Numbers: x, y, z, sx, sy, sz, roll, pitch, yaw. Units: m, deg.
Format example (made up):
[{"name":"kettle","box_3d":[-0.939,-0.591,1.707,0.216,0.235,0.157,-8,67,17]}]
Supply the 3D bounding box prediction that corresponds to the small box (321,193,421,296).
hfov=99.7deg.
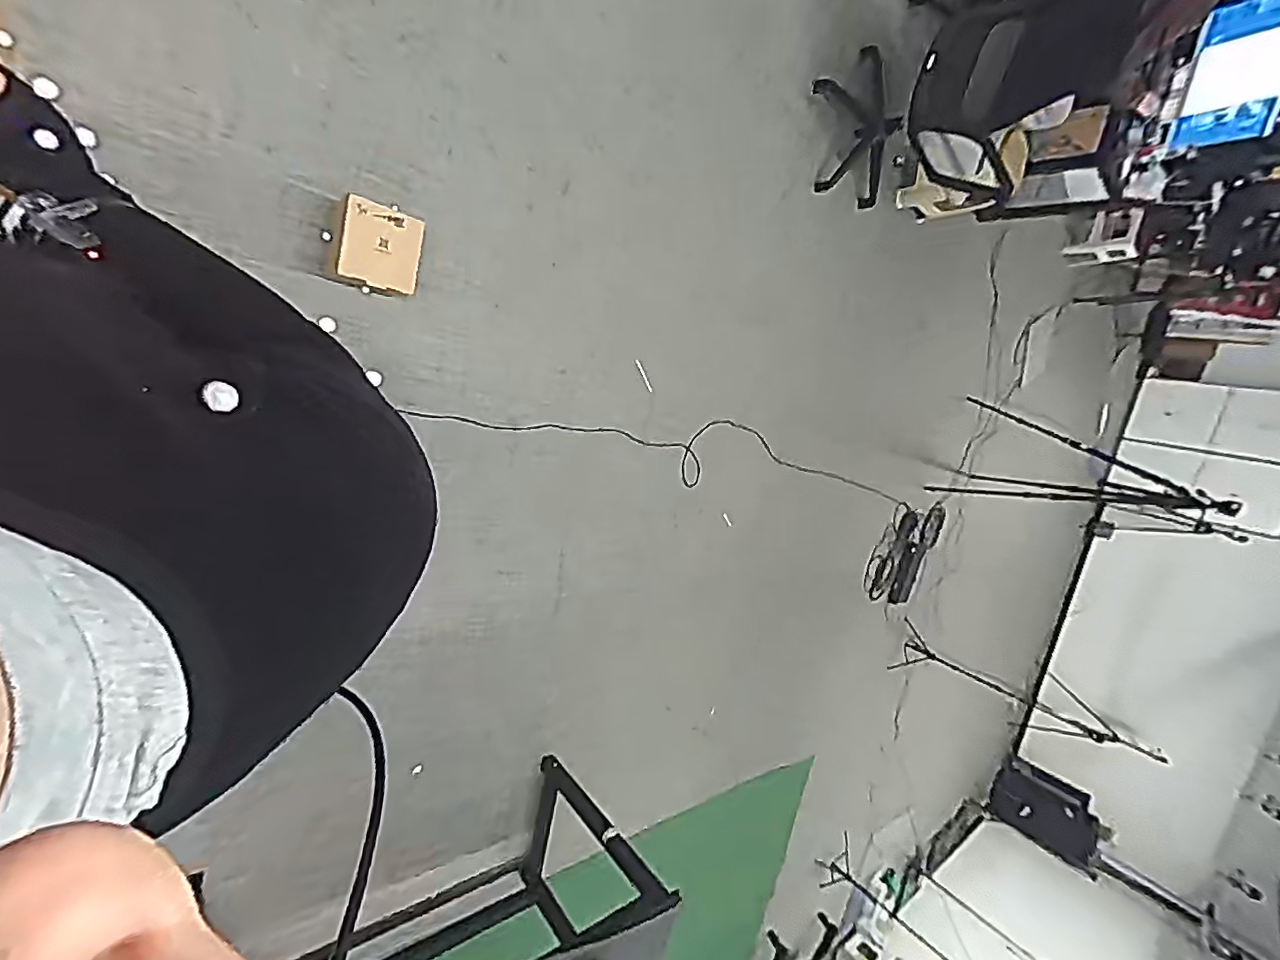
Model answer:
[{"name":"small box","box_3d":[-0.644,-0.549,1.285,0.168,0.176,0.179,6,101,-42]}]

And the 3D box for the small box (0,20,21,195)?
[{"name":"small box","box_3d":[-0.641,-0.368,0.434,0.168,0.176,0.179,-5,83,-41]}]
